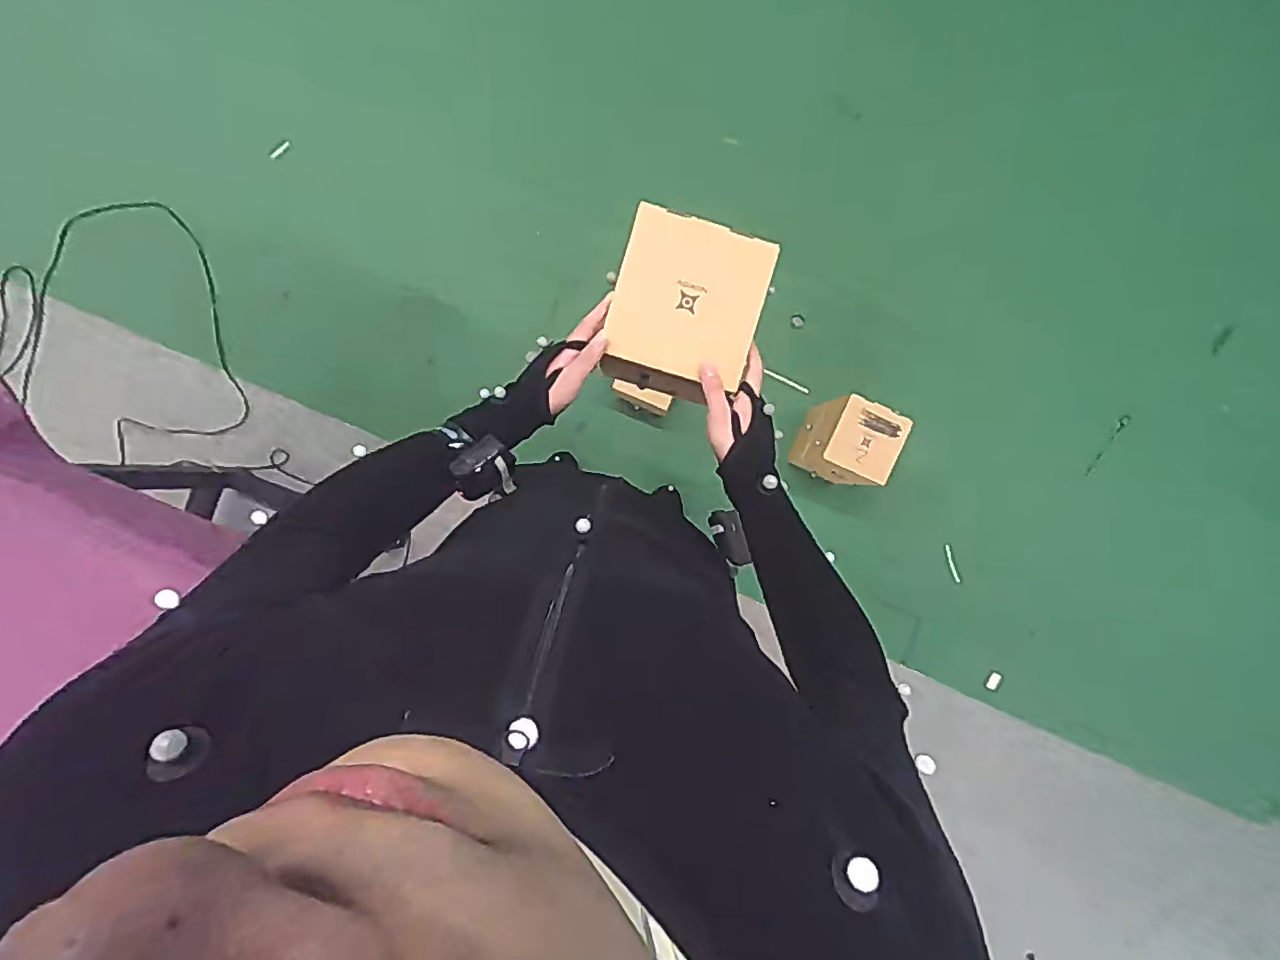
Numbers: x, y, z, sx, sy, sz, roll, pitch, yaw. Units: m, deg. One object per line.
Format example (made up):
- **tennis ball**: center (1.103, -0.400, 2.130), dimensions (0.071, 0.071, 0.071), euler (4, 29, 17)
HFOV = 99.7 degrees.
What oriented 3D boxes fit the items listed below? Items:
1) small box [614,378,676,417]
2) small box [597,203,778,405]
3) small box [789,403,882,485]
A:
- **small box**: center (0.036, -0.296, 1.548), dimensions (0.168, 0.176, 0.179), euler (23, 92, 2)
- **small box**: center (0.051, -0.202, 0.679), dimensions (0.168, 0.176, 0.179), euler (16, 90, -3)
- **small box**: center (0.547, -0.098, 1.540), dimensions (0.168, 0.176, 0.179), euler (26, 91, 1)
